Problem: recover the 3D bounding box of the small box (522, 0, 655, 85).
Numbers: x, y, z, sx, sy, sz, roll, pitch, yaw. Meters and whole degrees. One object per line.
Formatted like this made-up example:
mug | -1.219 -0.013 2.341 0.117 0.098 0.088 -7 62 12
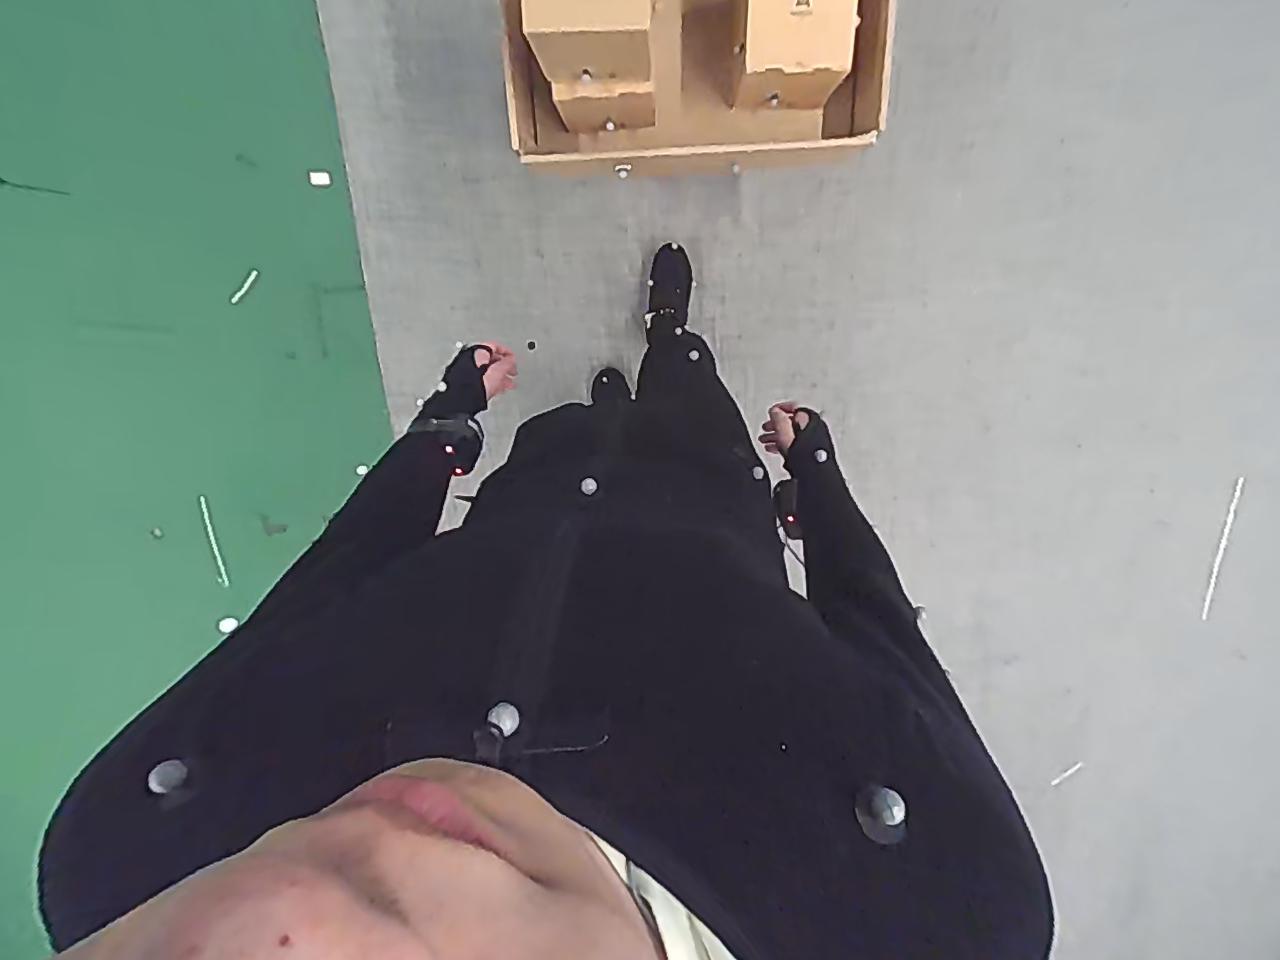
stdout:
small box | -0.065 -0.678 0.740 0.168 0.176 0.179 1 107 2
